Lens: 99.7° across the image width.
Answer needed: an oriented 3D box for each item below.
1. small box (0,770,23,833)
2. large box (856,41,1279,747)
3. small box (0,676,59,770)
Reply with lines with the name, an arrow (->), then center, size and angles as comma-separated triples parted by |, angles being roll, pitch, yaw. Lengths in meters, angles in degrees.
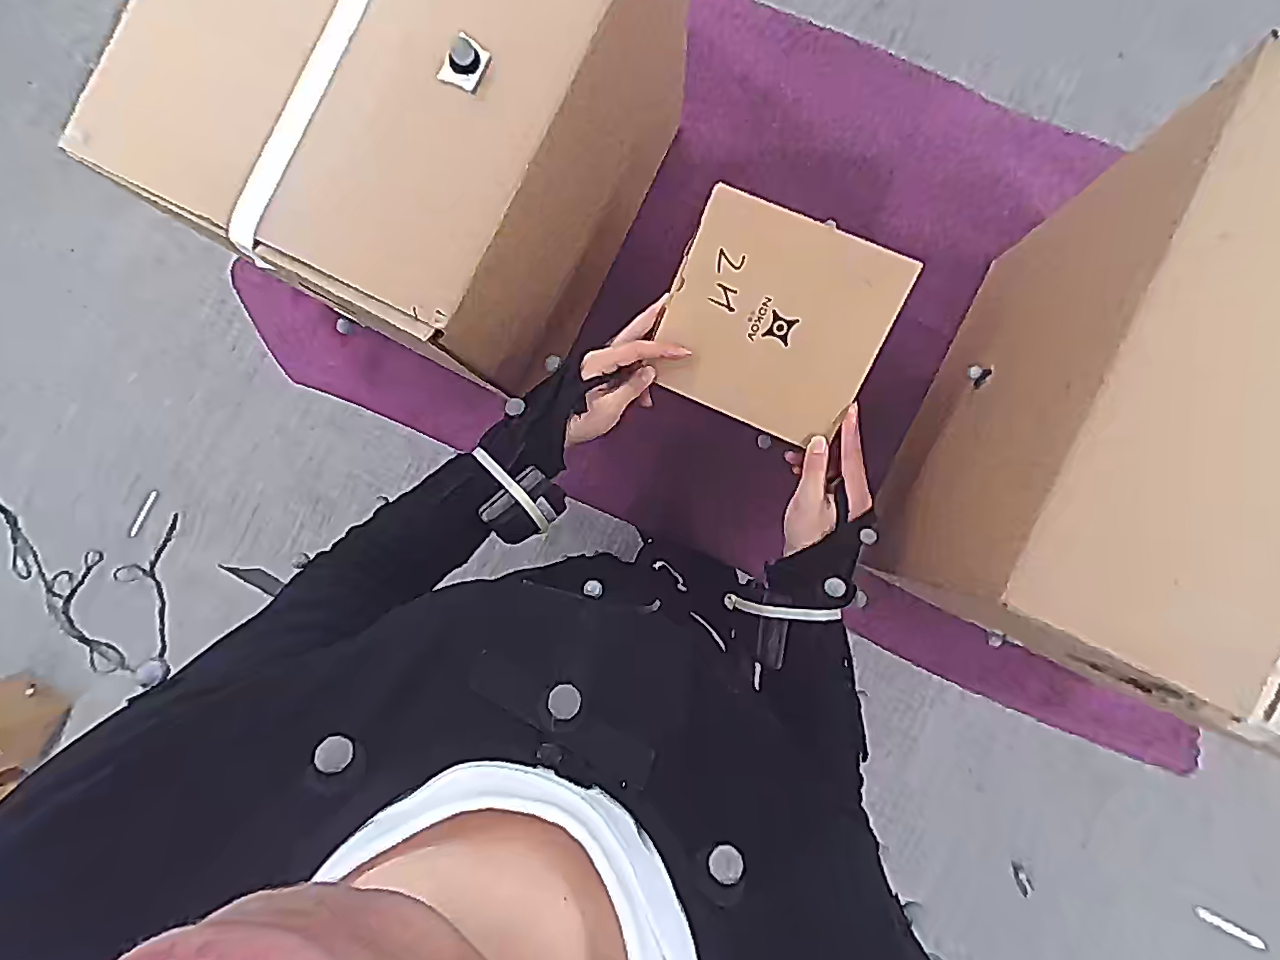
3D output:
small box -> -1.767, 0.845, 1.376 | 0.179, 0.176, 0.168 | 20, 89, 4
large box -> 0.452, -0.028, 0.472 | 0.320, 0.320, 0.408 | 26, 88, 4
small box -> -1.662, 0.636, 1.376 | 0.168, 0.176, 0.179 | 32, 90, 4
